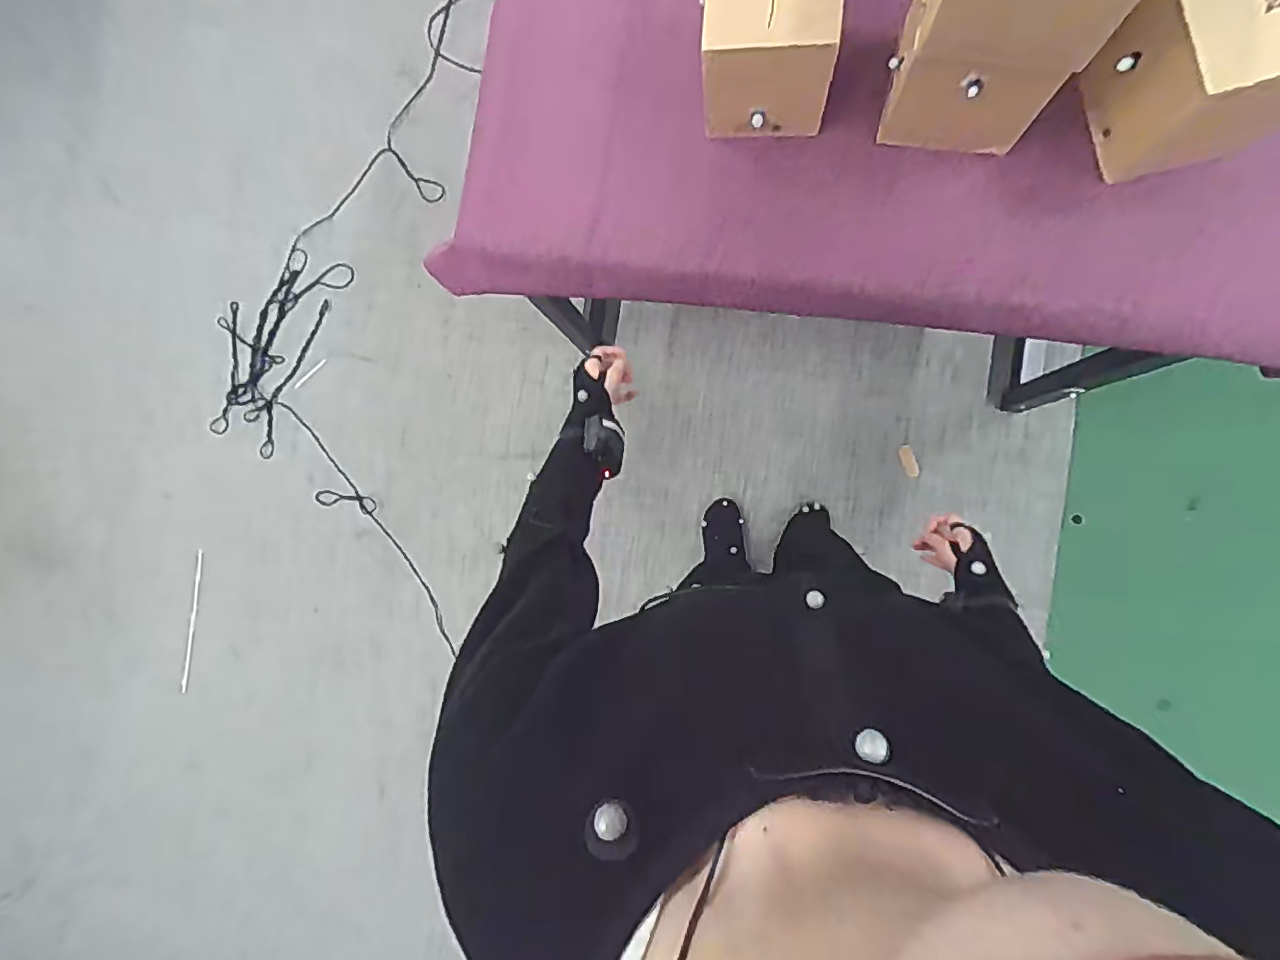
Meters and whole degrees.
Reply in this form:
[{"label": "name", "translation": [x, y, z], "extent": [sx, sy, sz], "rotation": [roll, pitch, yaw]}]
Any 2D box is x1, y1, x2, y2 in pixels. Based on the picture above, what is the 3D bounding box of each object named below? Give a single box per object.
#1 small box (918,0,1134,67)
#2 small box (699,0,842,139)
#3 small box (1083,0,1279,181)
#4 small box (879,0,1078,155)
[{"label": "small box", "translation": [0.400, -0.542, 0.518], "extent": [0.179, 0.176, 0.168], "rotation": [13, 90, 10]}, {"label": "small box", "translation": [0.171, -0.596, 0.722], "extent": [0.168, 0.176, 0.179], "rotation": [5, 89, 9]}, {"label": "small box", "translation": [0.673, -0.492, 0.639], "extent": [0.179, 0.176, 0.168], "rotation": [-11, 85, 9]}, {"label": "small box", "translation": [0.423, -0.544, 0.681], "extent": [0.179, 0.176, 0.168], "rotation": [13, 90, 9]}]
